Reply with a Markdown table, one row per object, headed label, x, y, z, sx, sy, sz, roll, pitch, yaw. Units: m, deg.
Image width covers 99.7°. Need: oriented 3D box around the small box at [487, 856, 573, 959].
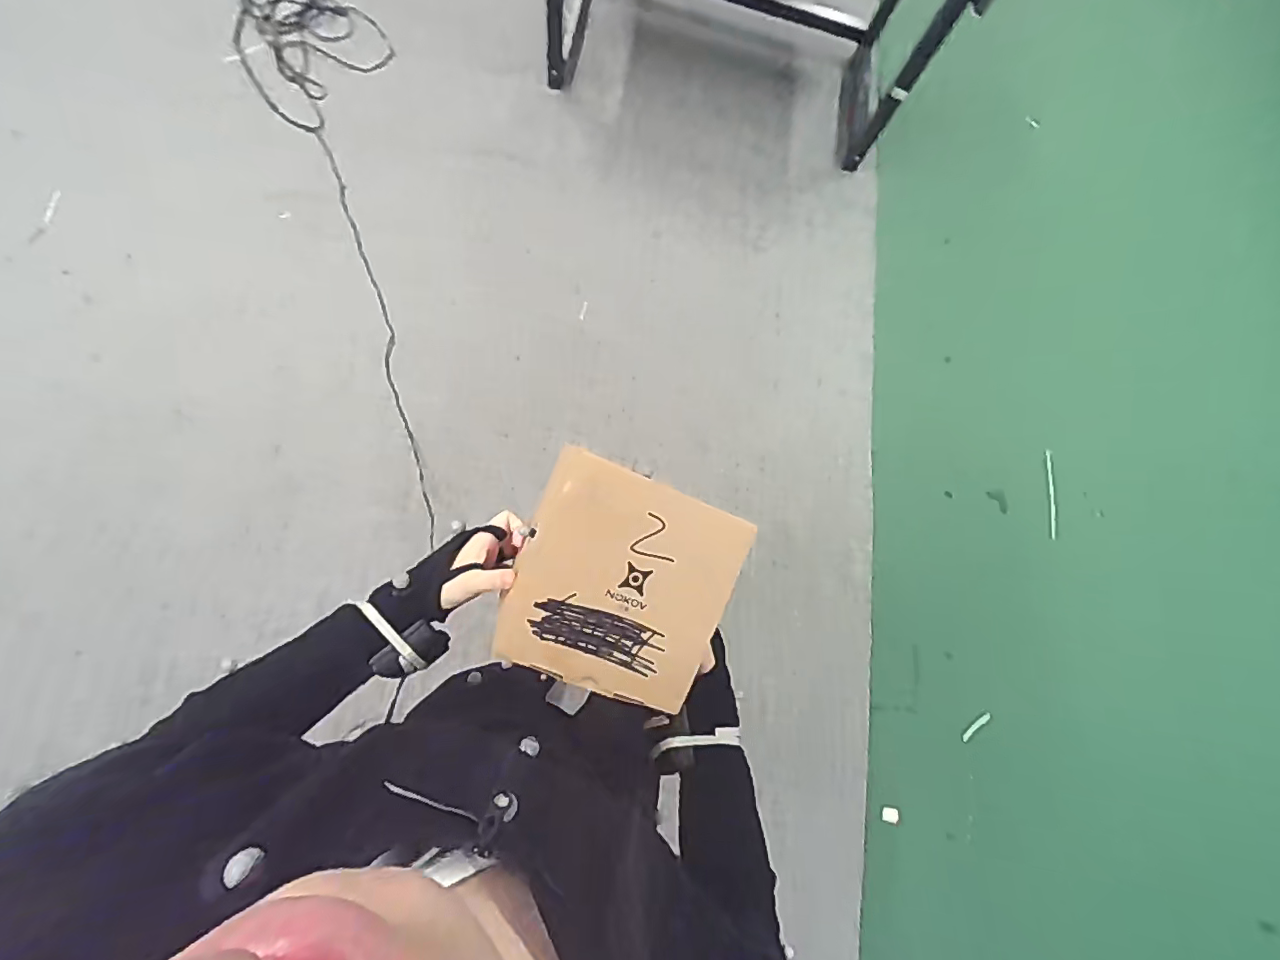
| label | x | y | z | sx | sy | sz | roll | pitch | yaw |
| --- | --- | --- | --- | --- | --- | --- | --- | --- | --- |
| small box | -0.253 | 1.014 | 1.255 | 0.168 | 0.176 | 0.179 | 10 | 75 | -8 |
